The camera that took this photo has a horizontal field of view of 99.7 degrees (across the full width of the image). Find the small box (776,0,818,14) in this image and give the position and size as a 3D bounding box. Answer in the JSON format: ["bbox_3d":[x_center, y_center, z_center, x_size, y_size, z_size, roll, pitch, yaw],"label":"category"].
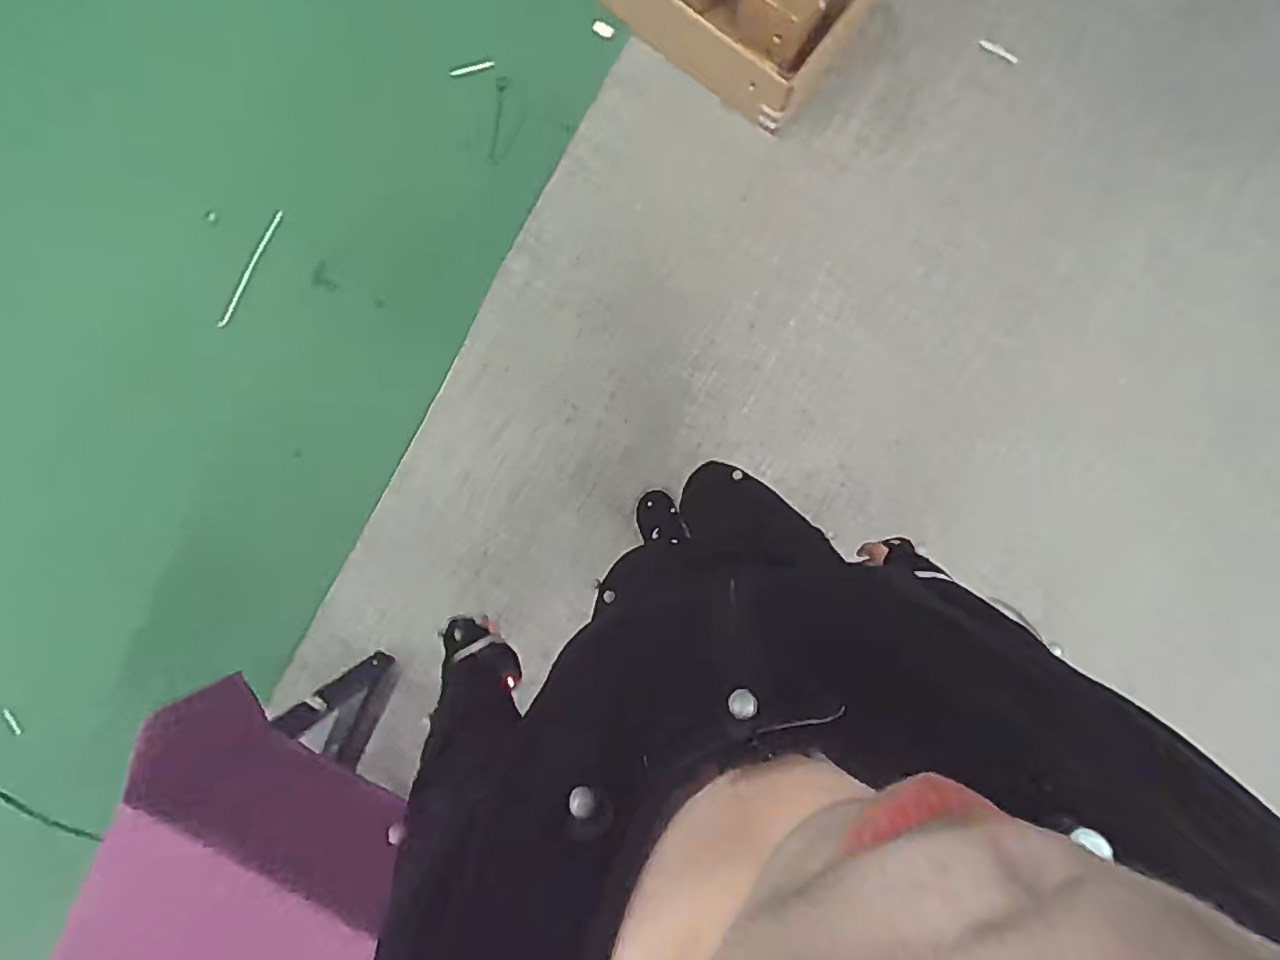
[{"bbox_3d":[0.348,-1.152,1.143,0.179,0.176,0.168,37,95,3],"label":"small box"}]
